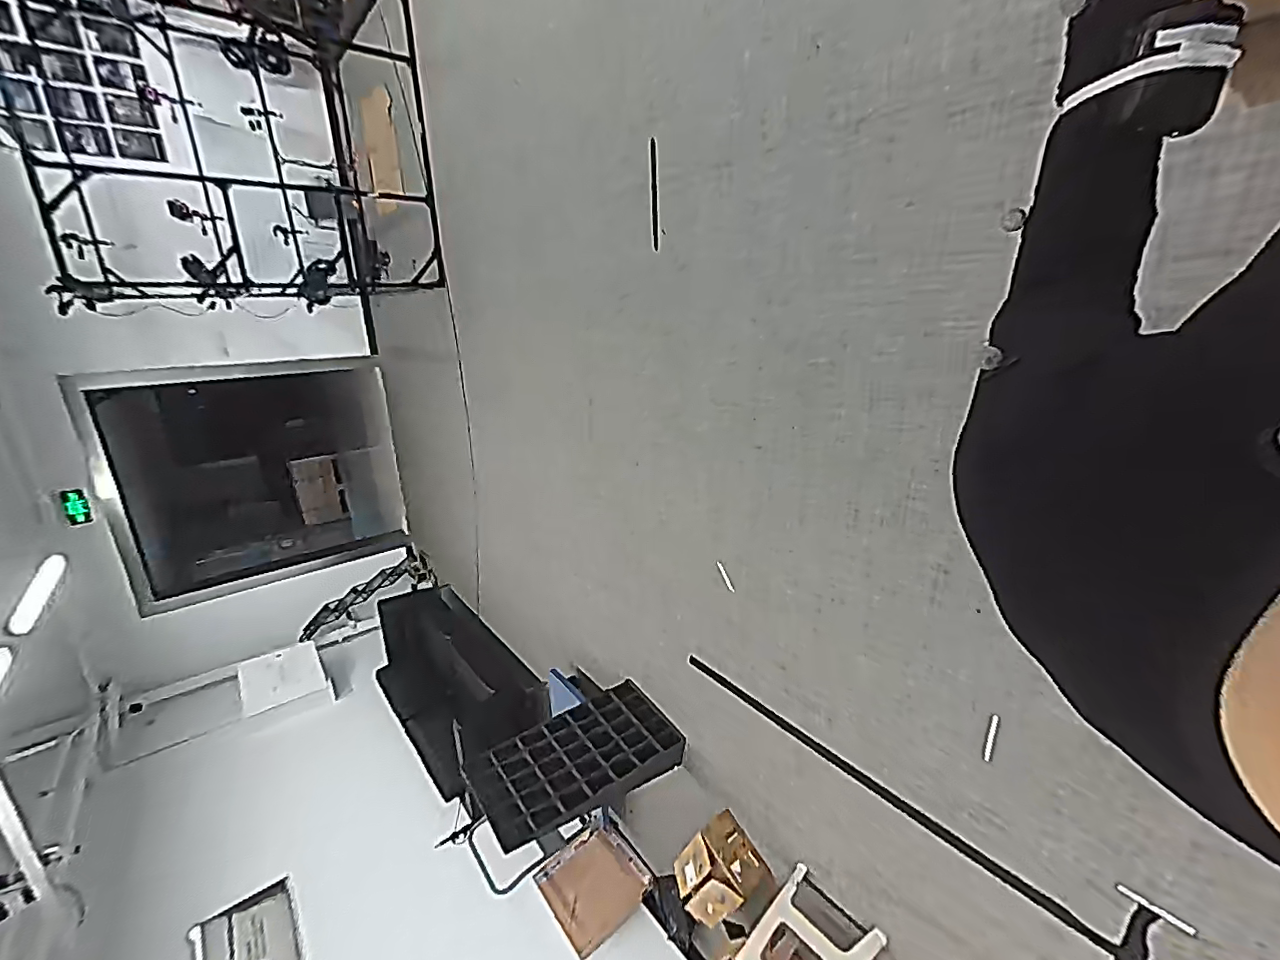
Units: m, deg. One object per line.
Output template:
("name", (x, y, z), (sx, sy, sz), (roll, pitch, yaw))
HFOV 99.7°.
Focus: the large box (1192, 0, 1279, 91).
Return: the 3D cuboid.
("large box", (0.590, -0.469, 0.264), (0.408, 0.320, 0.320), (11, 115, 51))
